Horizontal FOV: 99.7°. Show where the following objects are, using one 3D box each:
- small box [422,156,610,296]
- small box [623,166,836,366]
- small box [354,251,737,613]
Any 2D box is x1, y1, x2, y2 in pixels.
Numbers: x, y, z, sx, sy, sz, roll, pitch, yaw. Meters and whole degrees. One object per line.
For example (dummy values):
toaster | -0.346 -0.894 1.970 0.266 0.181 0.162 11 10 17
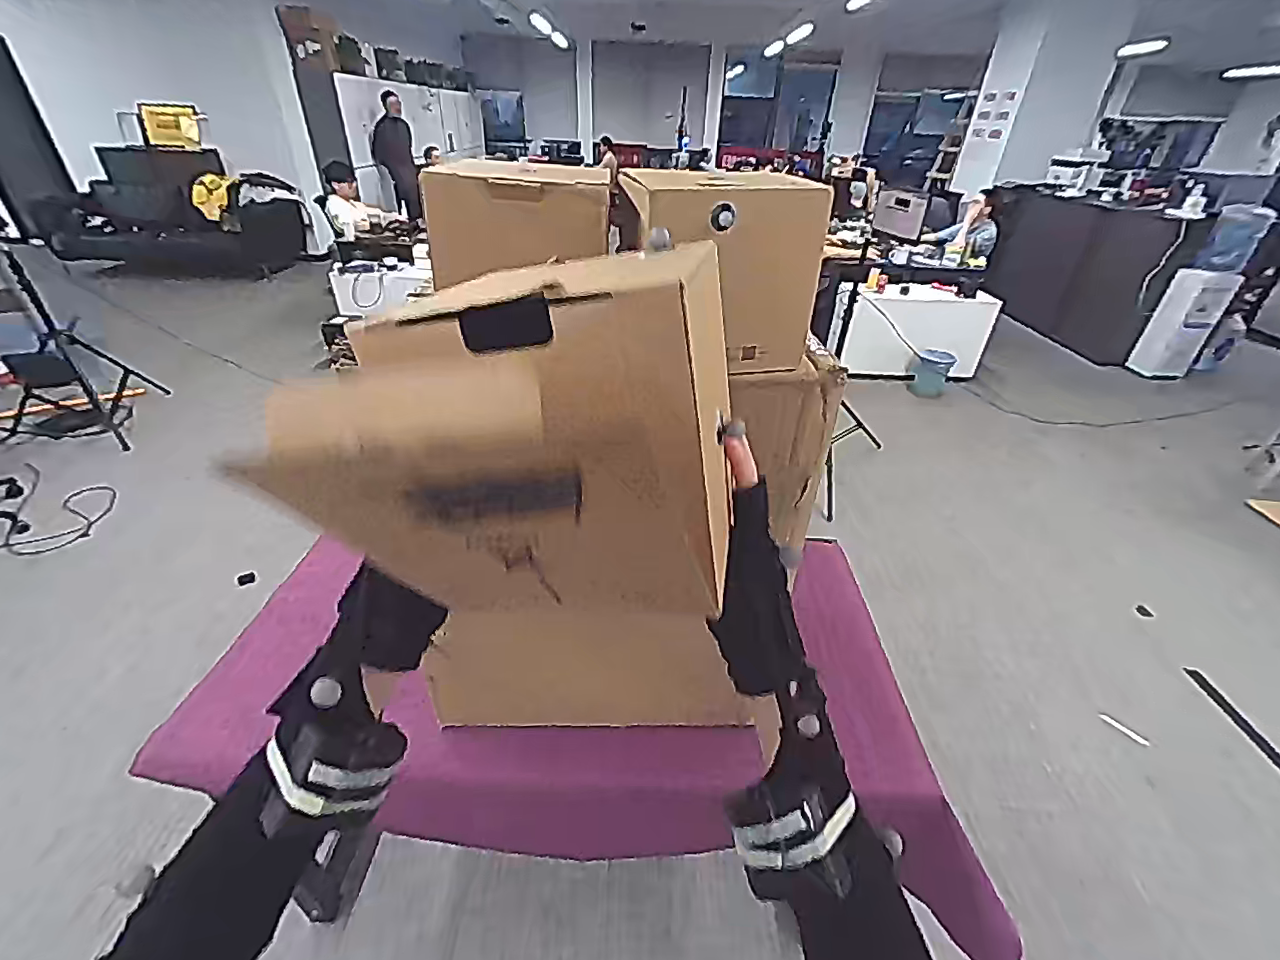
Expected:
small box | -0.116 -0.243 0.582 0.168 0.176 0.179 2 32 -5
small box | 0.073 -0.226 0.564 0.168 0.176 0.179 -5 33 -9
small box | -0.029 -0.039 0.339 0.168 0.179 0.176 -3 28 14
